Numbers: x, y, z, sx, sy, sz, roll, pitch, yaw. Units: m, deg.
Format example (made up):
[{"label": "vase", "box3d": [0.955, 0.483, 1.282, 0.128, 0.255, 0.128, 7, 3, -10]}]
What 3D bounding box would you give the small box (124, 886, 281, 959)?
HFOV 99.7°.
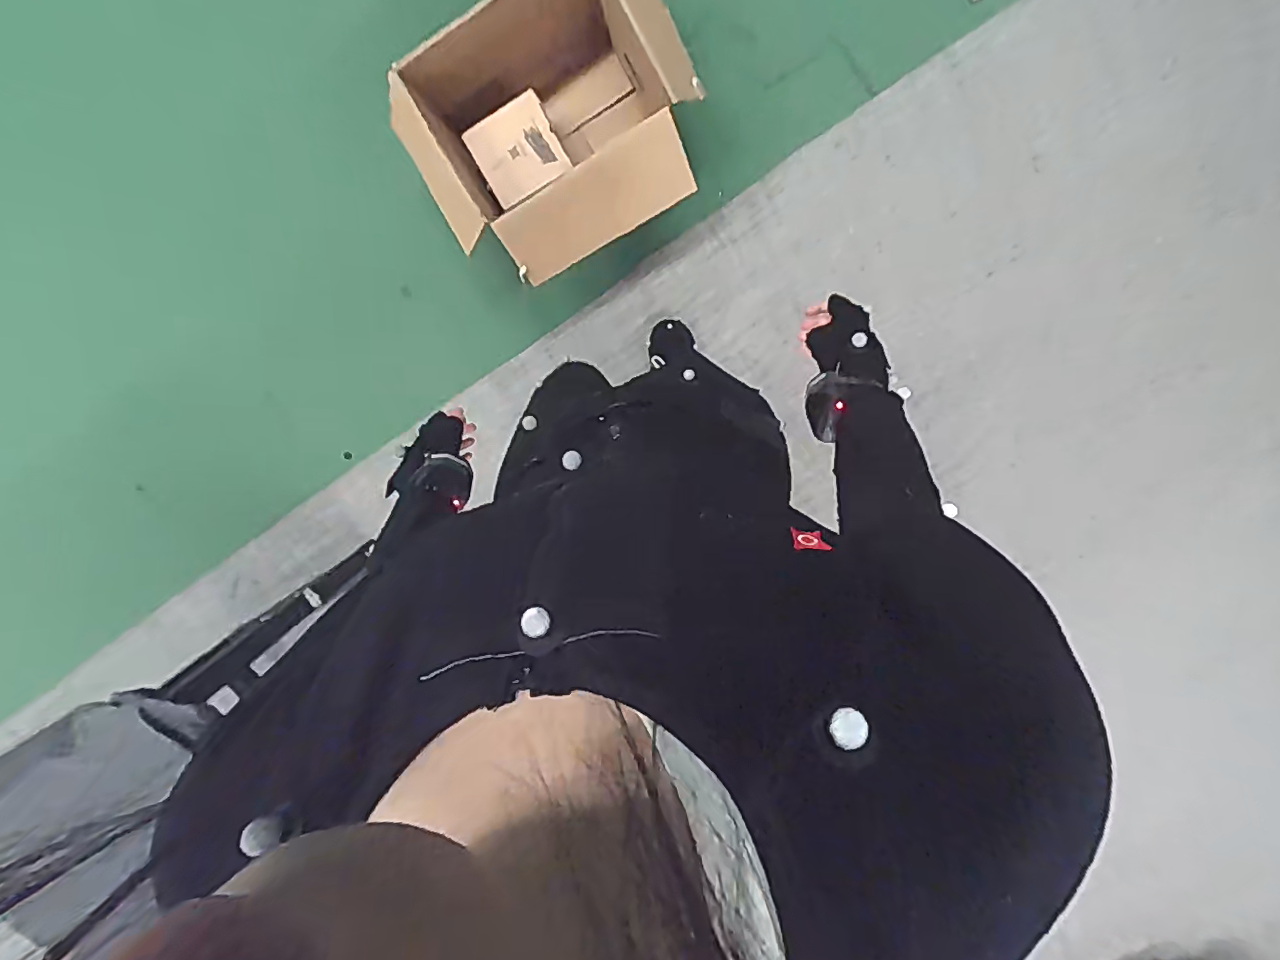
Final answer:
[{"label": "small box", "box3d": [-0.772, 0.849, 0.921, 0.179, 0.176, 0.168, -30, 104, 9]}]
